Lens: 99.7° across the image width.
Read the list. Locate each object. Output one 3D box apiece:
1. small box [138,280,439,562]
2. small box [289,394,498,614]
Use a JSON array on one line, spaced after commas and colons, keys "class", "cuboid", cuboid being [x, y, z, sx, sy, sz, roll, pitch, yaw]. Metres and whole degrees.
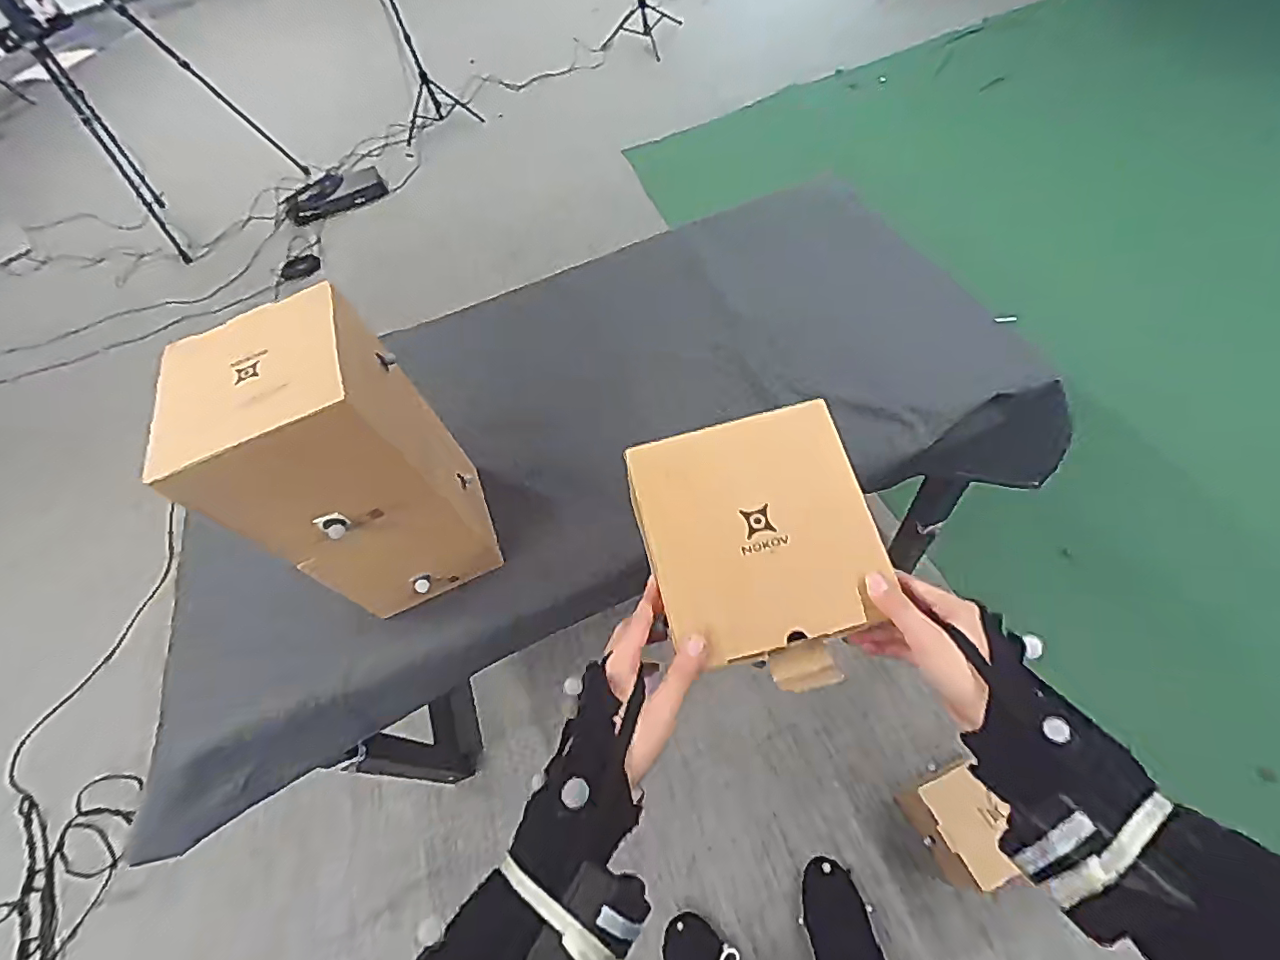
[{"class": "small box", "cuboid": [-0.322, -0.051, 0.524, 0.168, 0.176, 0.179, -26, 58, -4]}, {"class": "small box", "cuboid": [-0.295, 0.034, 0.660, 0.168, 0.176, 0.179, -25, 57, -5]}]
